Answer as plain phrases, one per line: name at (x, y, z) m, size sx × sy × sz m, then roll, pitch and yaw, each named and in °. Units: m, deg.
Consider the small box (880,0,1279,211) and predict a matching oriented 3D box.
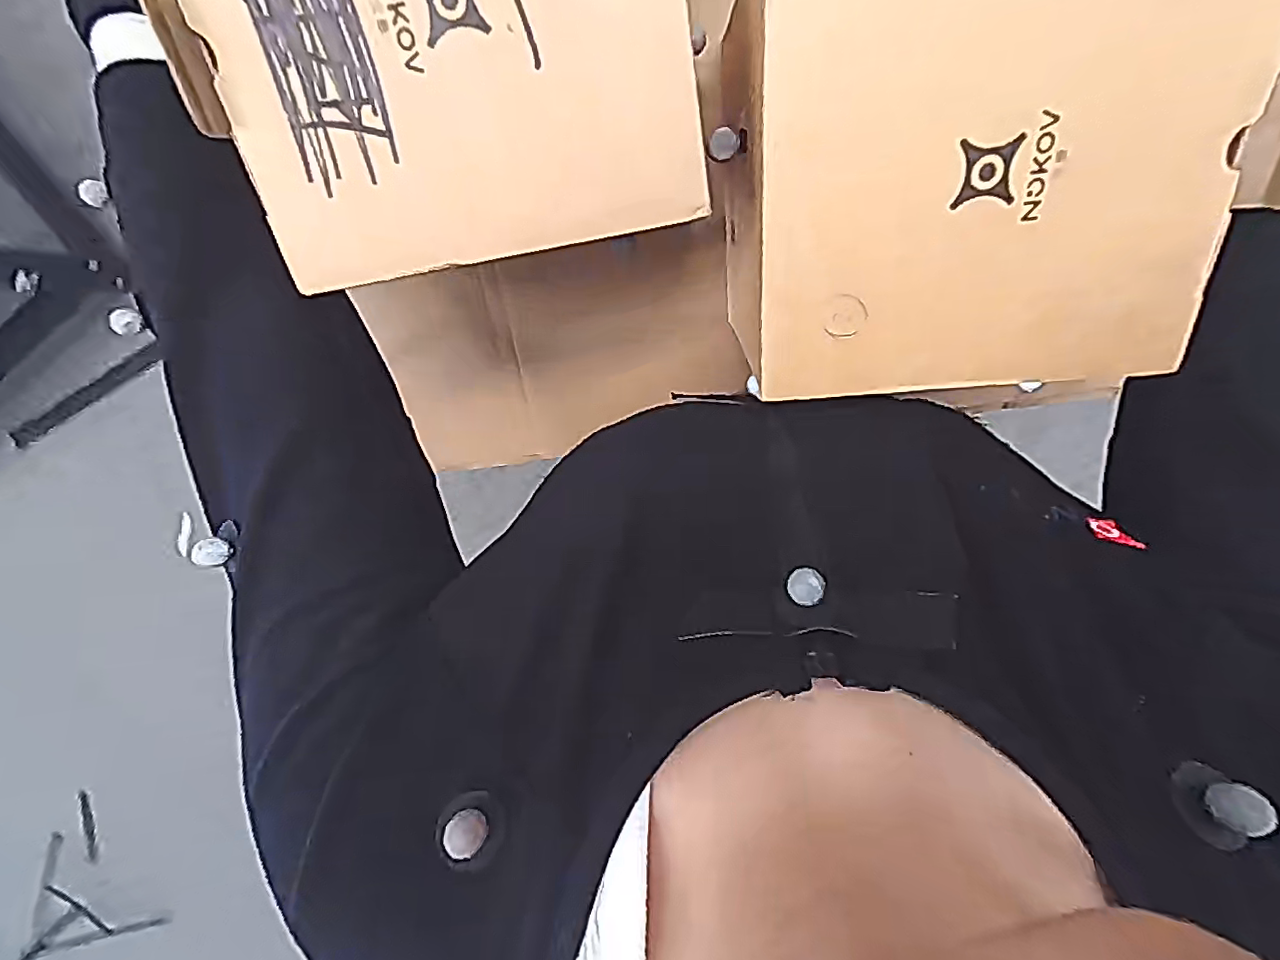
small box at (0.234, -0.215, 0.216) m, size 0.179 × 0.176 × 0.168 m, roll 9°, pitch 125°, yaw -3°
